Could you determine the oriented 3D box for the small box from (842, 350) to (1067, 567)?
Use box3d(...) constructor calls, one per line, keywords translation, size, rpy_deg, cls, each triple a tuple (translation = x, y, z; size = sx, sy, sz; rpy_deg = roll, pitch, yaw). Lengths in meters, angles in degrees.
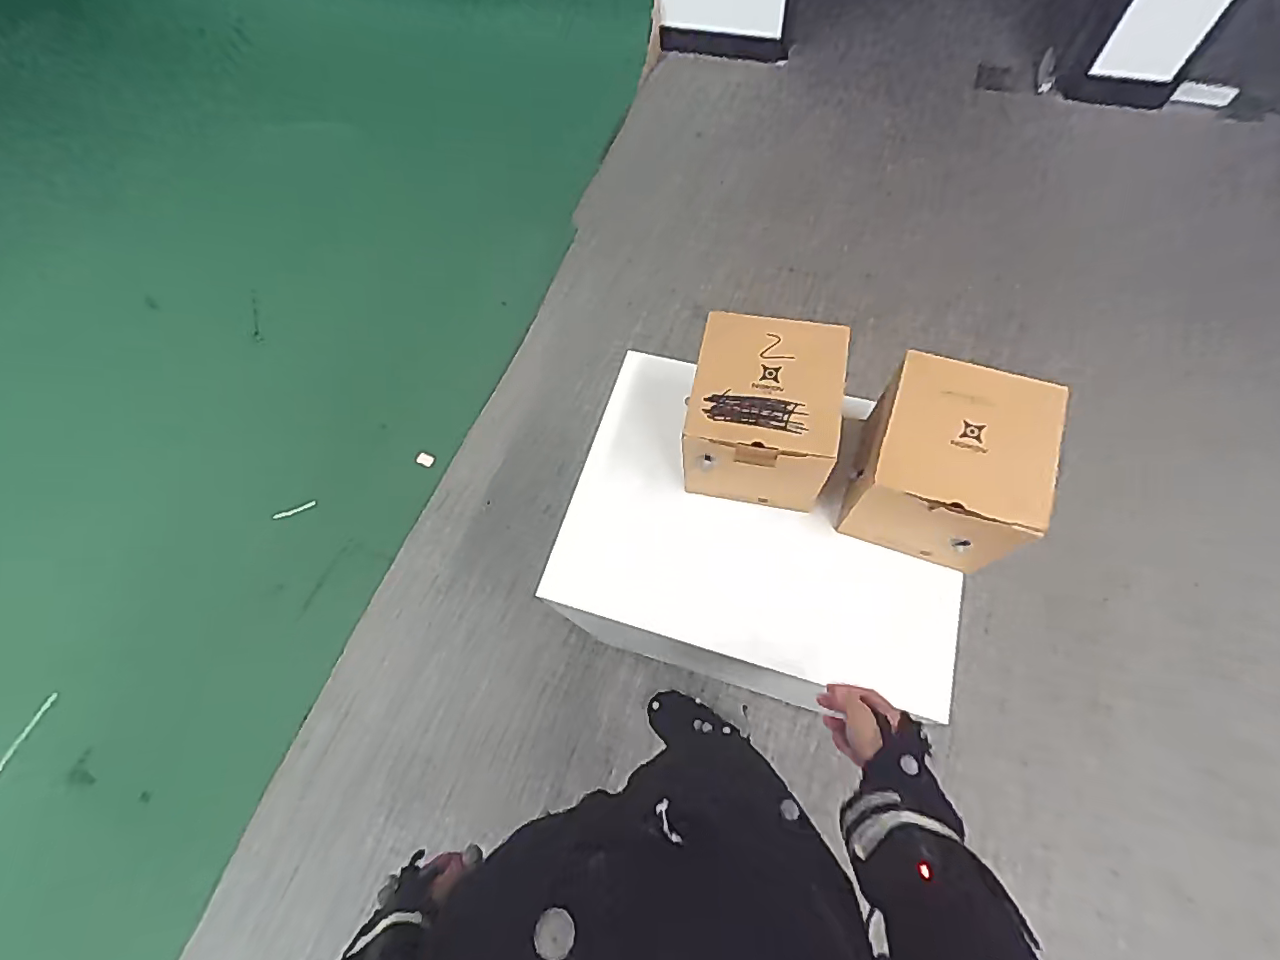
box3d(translation=(0.350, -0.015, 0.631), size=(0.168, 0.176, 0.179), rpy_deg=(18, 70, 12), cls="small box")
